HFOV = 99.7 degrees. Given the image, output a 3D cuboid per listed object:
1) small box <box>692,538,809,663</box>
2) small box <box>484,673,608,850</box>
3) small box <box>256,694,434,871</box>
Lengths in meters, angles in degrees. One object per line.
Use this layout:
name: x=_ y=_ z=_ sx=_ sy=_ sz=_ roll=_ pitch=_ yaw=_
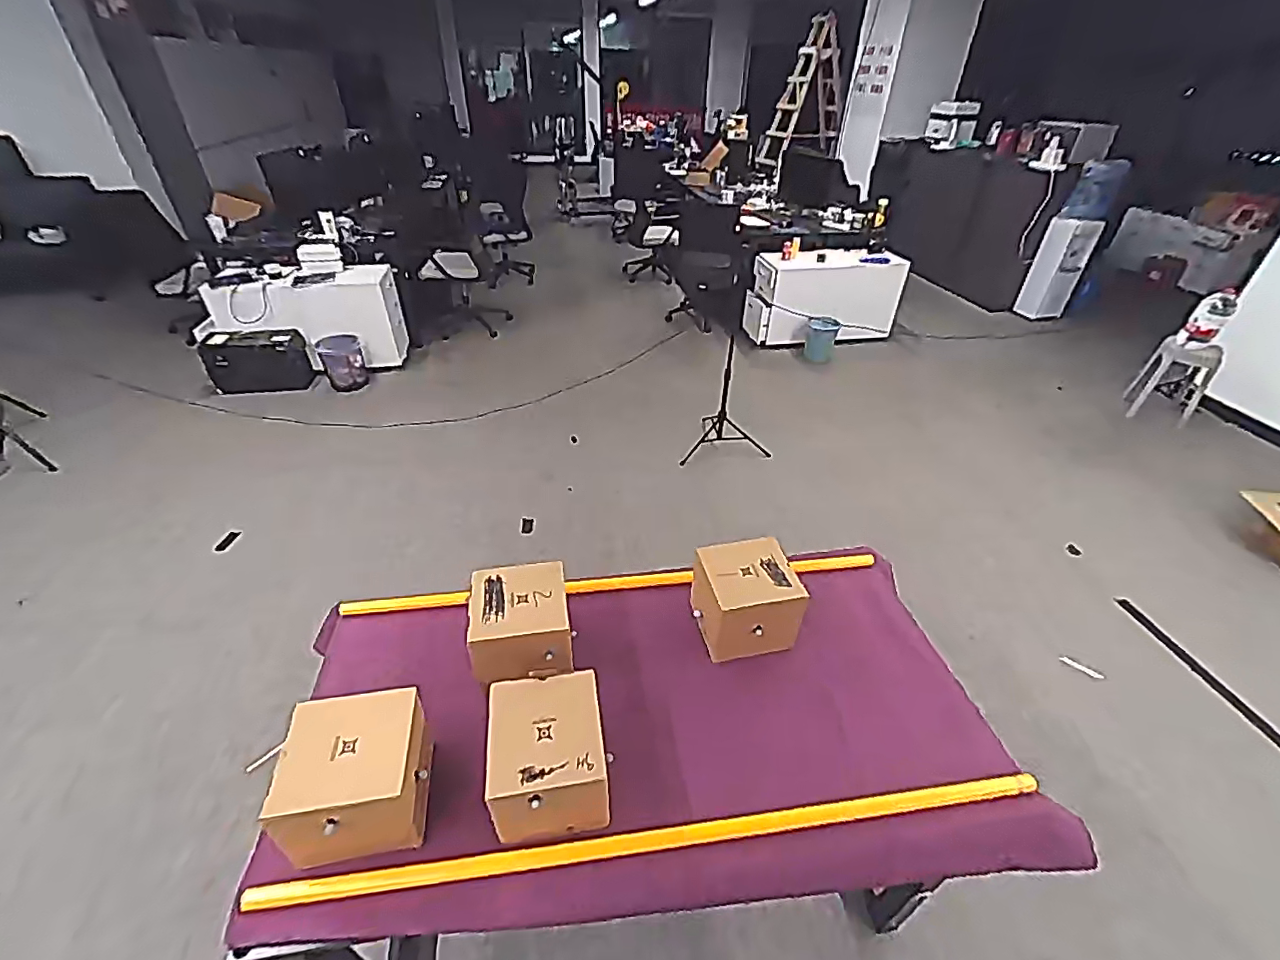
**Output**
small box: x=0.213 y=0.244 z=1.095 sx=0.179 sy=0.176 sz=0.168 roll=-8 pitch=39 yaw=-9
small box: x=-0.140 y=0.432 z=0.837 sx=0.168 sy=0.176 sz=0.179 roll=-6 pitch=37 yaw=-8
small box: x=-0.418 y=0.449 z=0.807 sx=0.179 sy=0.176 sz=0.168 roll=-5 pitch=37 yaw=-9
